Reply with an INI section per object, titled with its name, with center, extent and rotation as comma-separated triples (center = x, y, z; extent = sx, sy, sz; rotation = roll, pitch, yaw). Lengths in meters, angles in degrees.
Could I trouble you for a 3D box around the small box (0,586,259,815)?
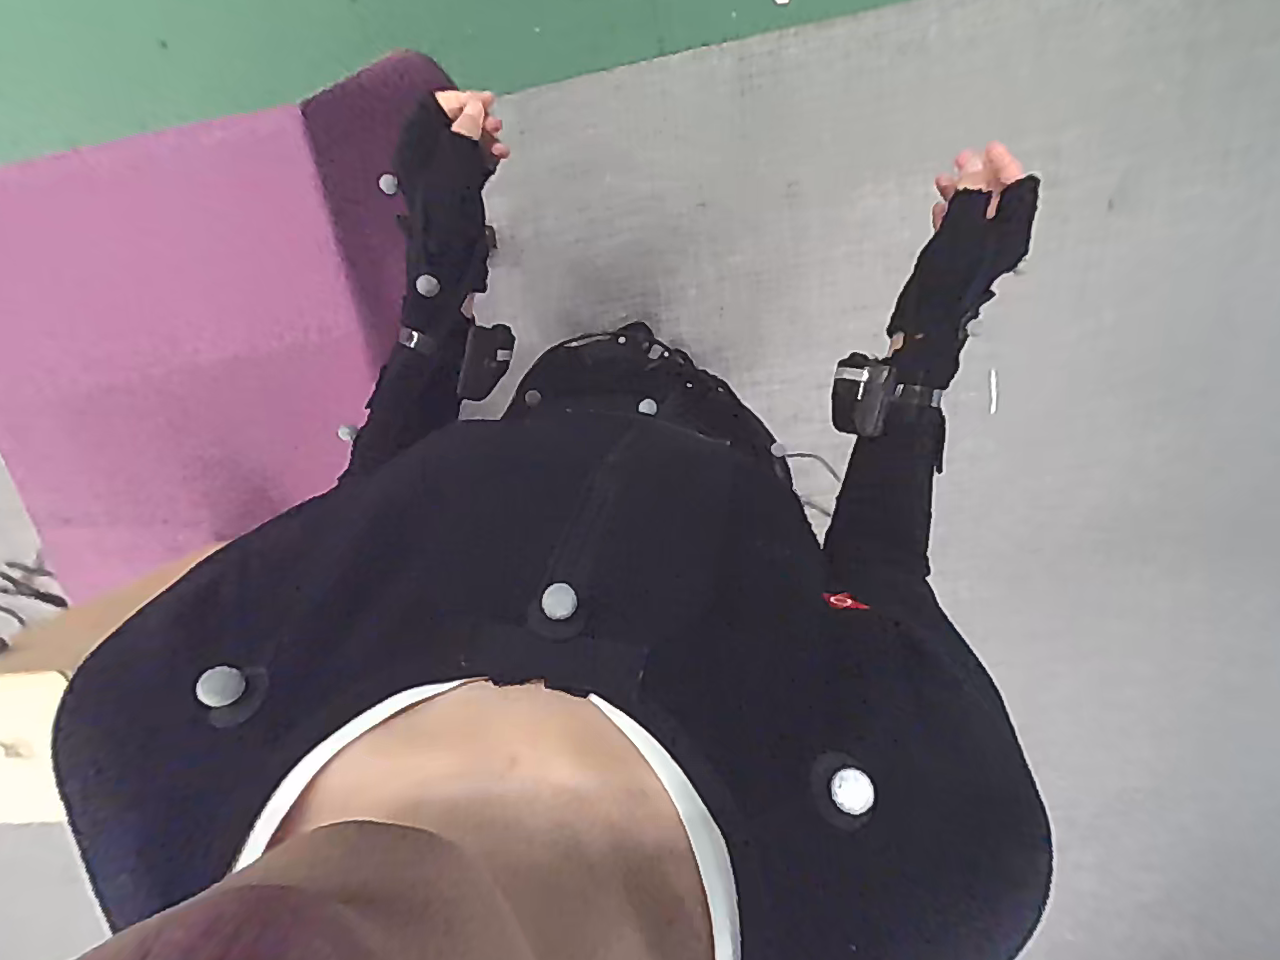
[small box]
center = -0.577, 0.231, 0.594
extent = 0.179, 0.176, 0.168
rotation = -7, 105, 6
